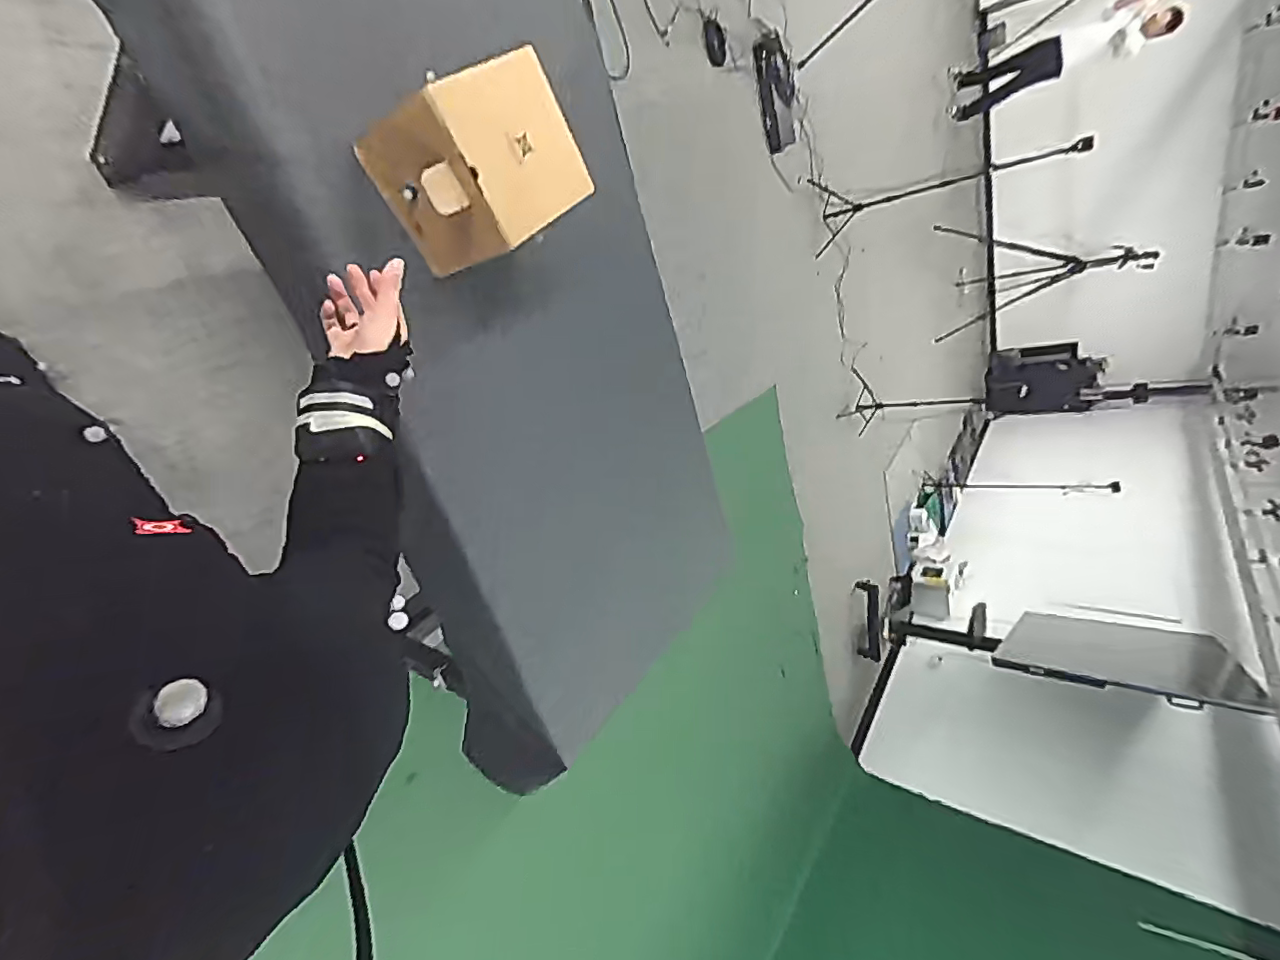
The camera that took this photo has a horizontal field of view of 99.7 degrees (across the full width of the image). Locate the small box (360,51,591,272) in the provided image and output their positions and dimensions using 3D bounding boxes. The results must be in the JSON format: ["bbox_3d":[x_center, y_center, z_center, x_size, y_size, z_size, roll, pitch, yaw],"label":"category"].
[{"bbox_3d":[-0.199,-0.382,0.667,0.179,0.176,0.168,-53,131,-33],"label":"small box"}]
